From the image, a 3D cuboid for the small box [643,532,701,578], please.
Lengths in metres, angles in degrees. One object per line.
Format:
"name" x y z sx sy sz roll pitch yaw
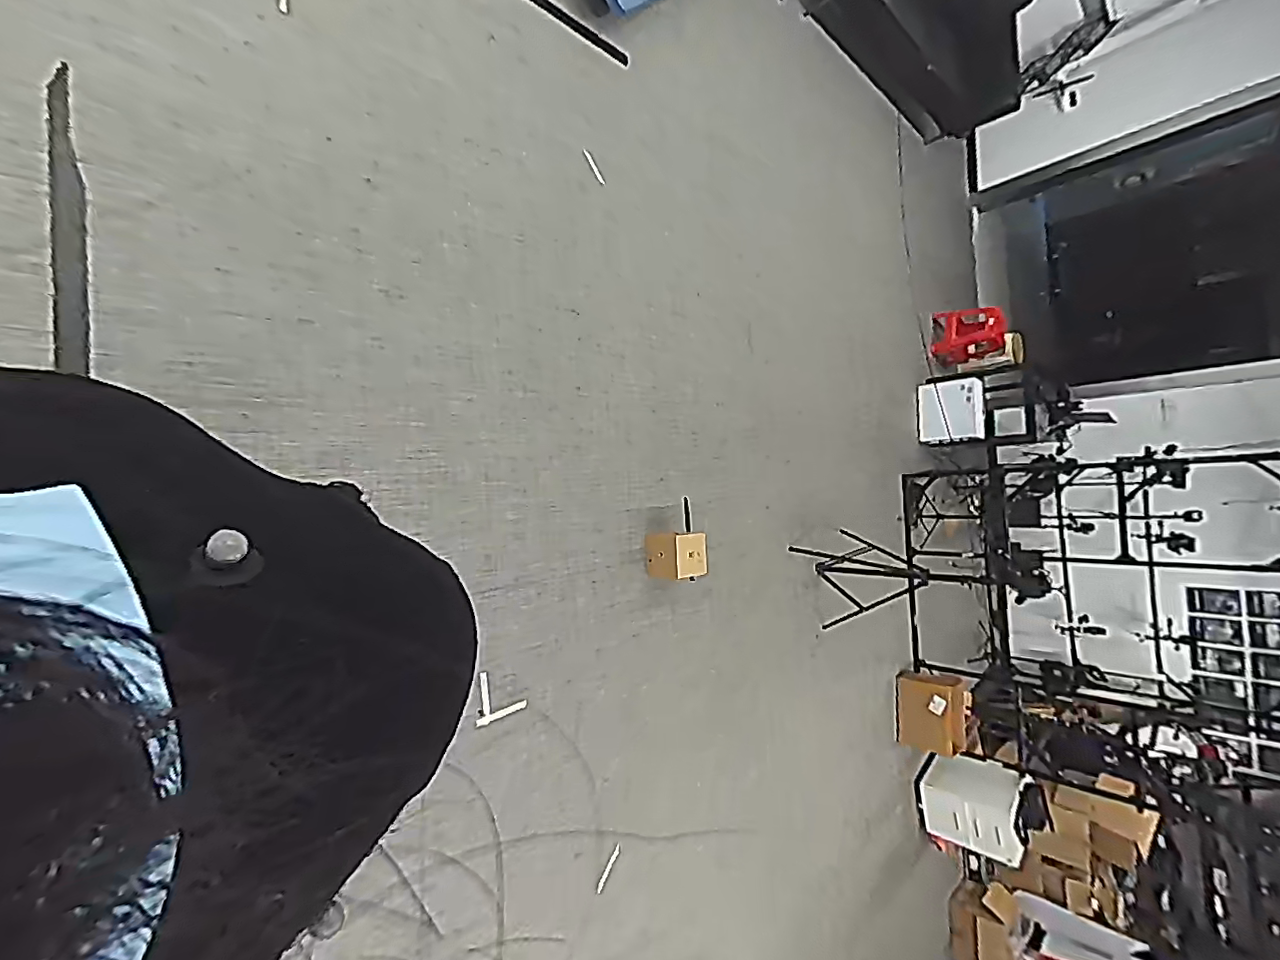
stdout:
"small box" 0.123 0.296 2.154 0.179 0.176 0.168 1 87 -45
